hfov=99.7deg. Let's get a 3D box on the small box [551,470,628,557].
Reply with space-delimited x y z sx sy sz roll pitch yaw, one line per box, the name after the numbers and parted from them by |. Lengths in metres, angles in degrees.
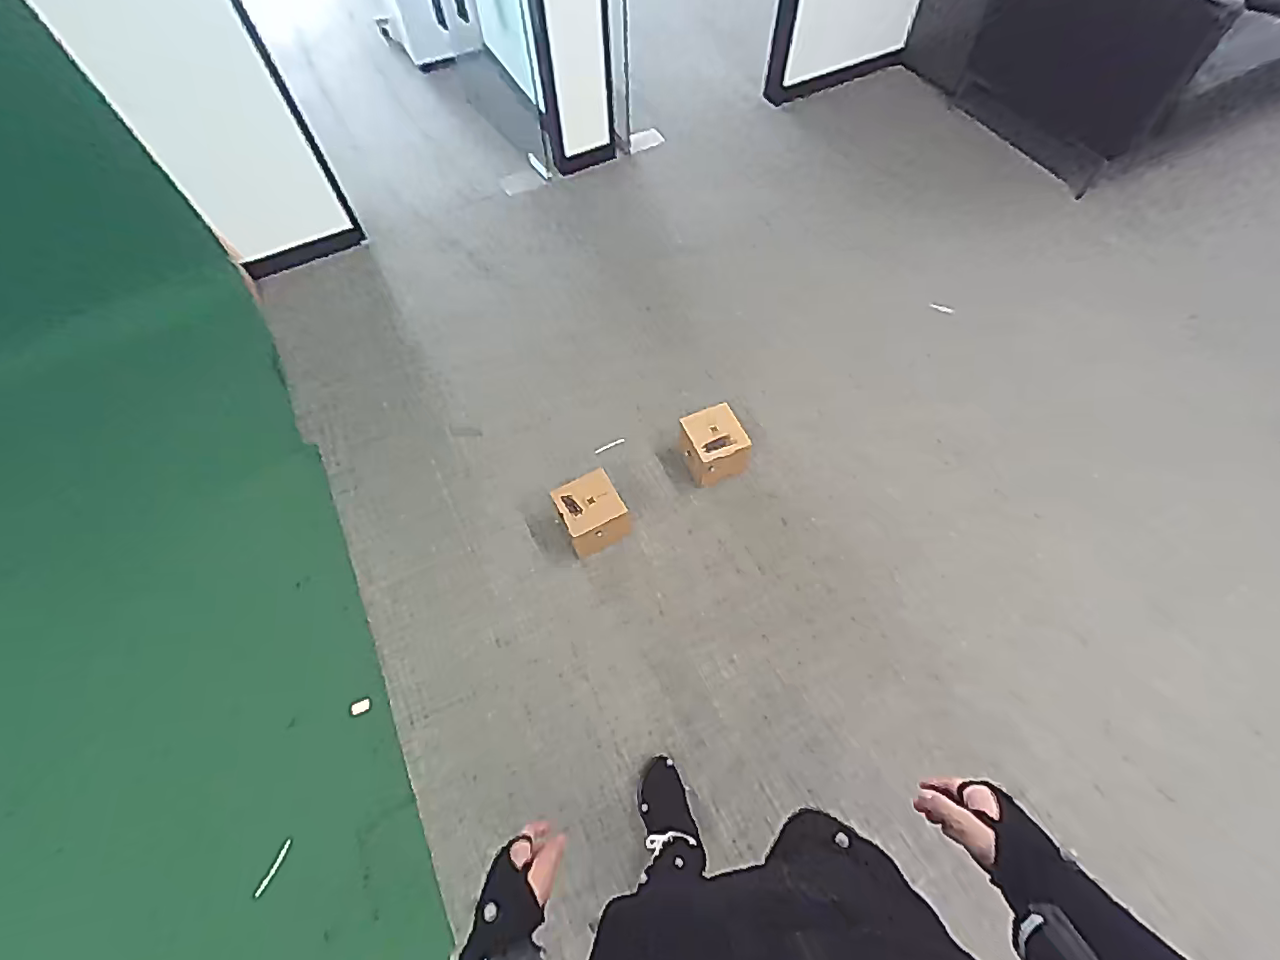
-0.146 0.106 1.619 0.179 0.176 0.168 -25 64 -14 | small box
